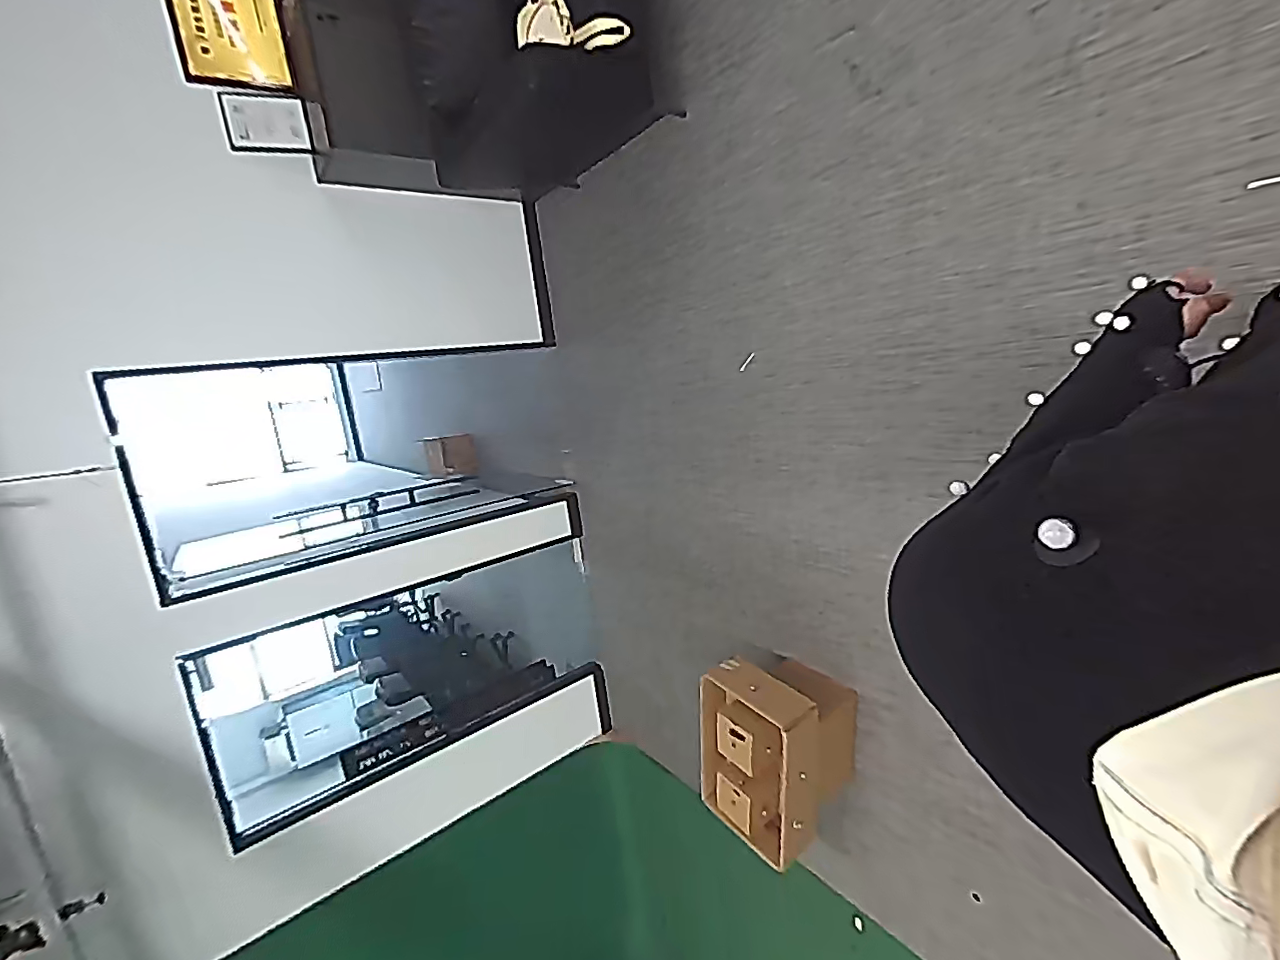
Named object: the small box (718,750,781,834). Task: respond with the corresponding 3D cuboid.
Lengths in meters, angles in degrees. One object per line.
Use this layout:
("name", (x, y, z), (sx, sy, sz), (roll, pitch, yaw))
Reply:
("small box", (0.411, 1.157, 2.016), (0.168, 0.176, 0.179), (19, 117, 51))
